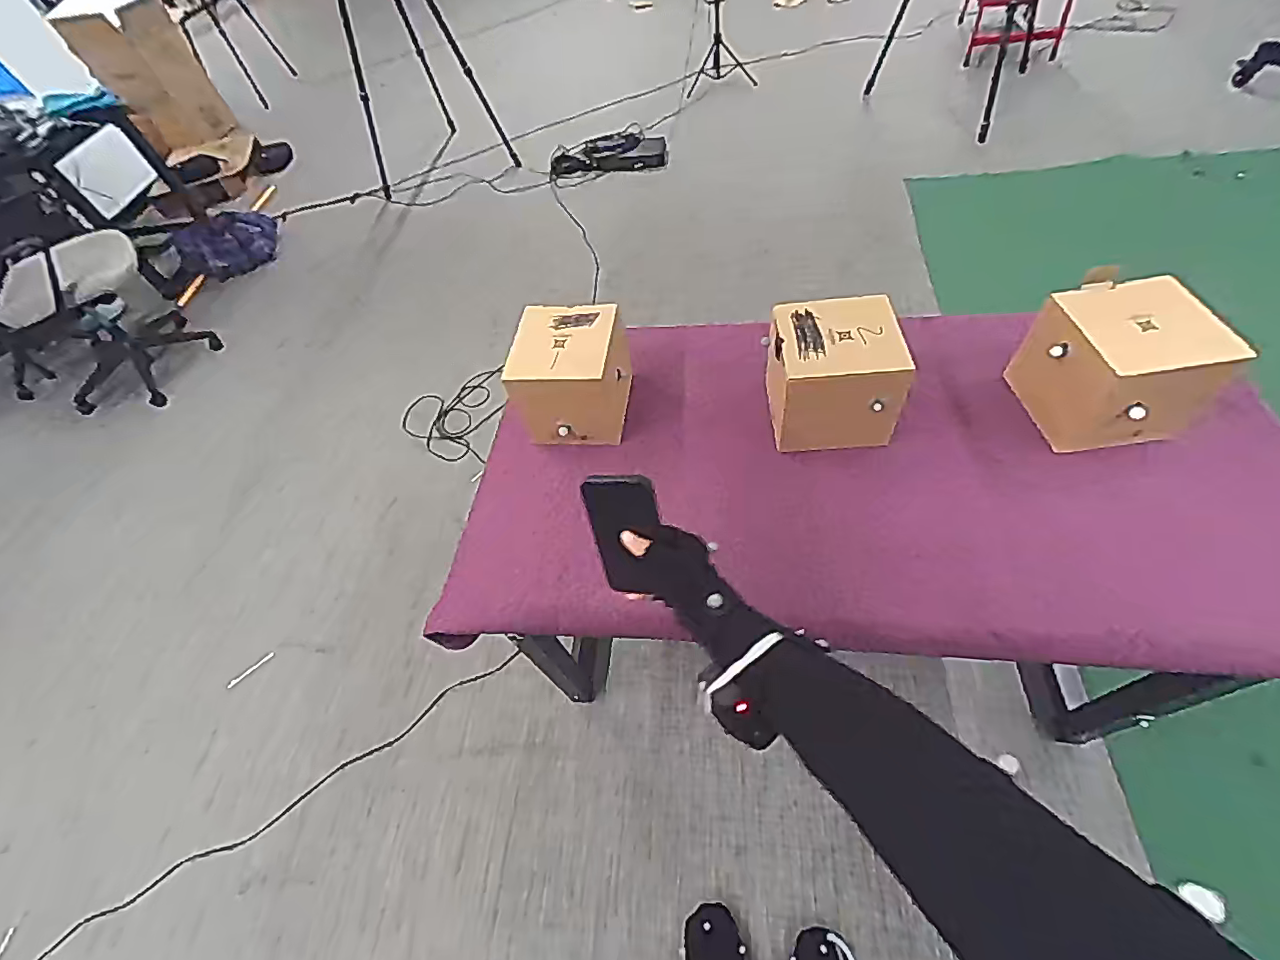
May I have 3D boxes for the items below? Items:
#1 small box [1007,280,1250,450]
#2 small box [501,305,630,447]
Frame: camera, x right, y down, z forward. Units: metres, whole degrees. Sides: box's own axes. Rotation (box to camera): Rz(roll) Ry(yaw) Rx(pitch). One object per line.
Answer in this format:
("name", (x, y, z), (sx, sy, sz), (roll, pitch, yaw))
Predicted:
("small box", (0.686, -0.158, 0.790), (0.168, 0.176, 0.179), (-8, 54, 4))
("small box", (-0.116, -0.179, 0.933), (0.168, 0.176, 0.179), (2, 57, 11))
